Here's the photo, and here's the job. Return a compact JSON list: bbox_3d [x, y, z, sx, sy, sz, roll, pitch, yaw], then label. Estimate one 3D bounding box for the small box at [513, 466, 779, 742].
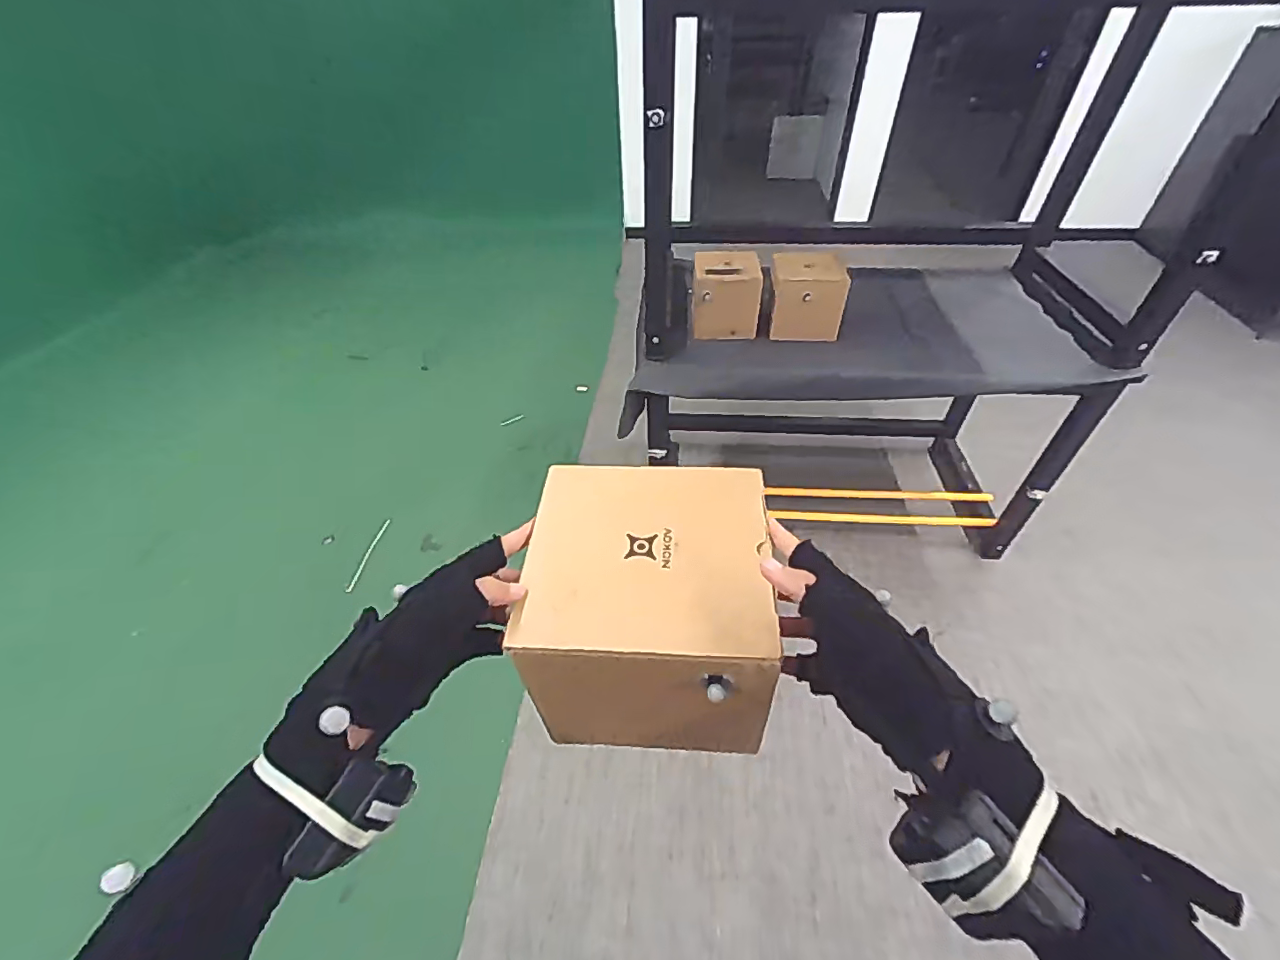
[{"bbox_3d":[0.012,0.105,0.456,0.179,0.176,0.168,1,45,5],"label":"small box"}]
